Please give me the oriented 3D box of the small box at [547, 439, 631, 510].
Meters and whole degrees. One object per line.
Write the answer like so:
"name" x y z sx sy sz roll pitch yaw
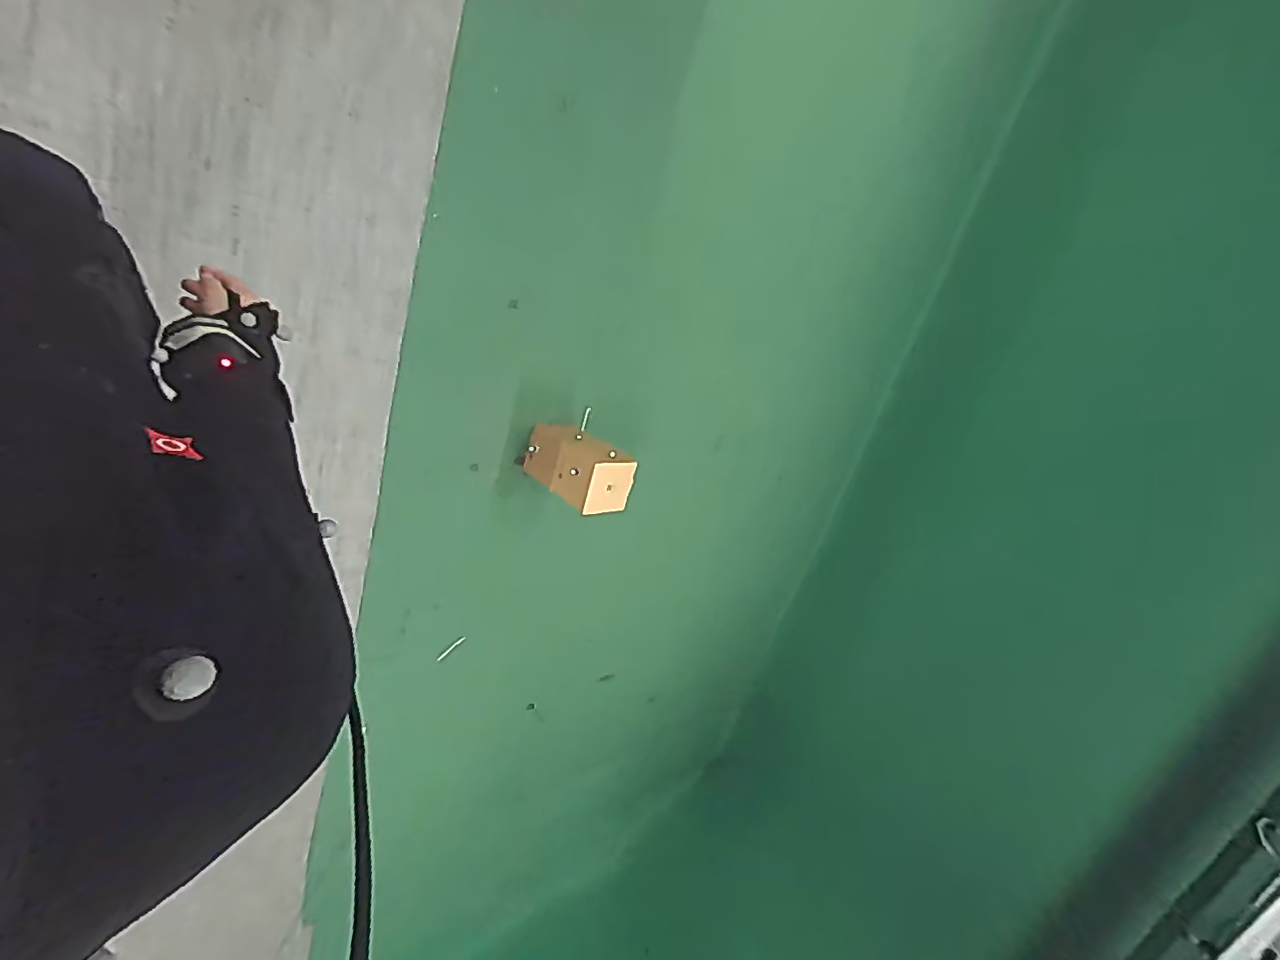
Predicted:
"small box" -0.161 -0.021 1.657 0.179 0.176 0.168 -4 118 -48

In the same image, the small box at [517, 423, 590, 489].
"small box" -0.271 -0.081 1.762 0.179 0.176 0.168 -2 115 -47
